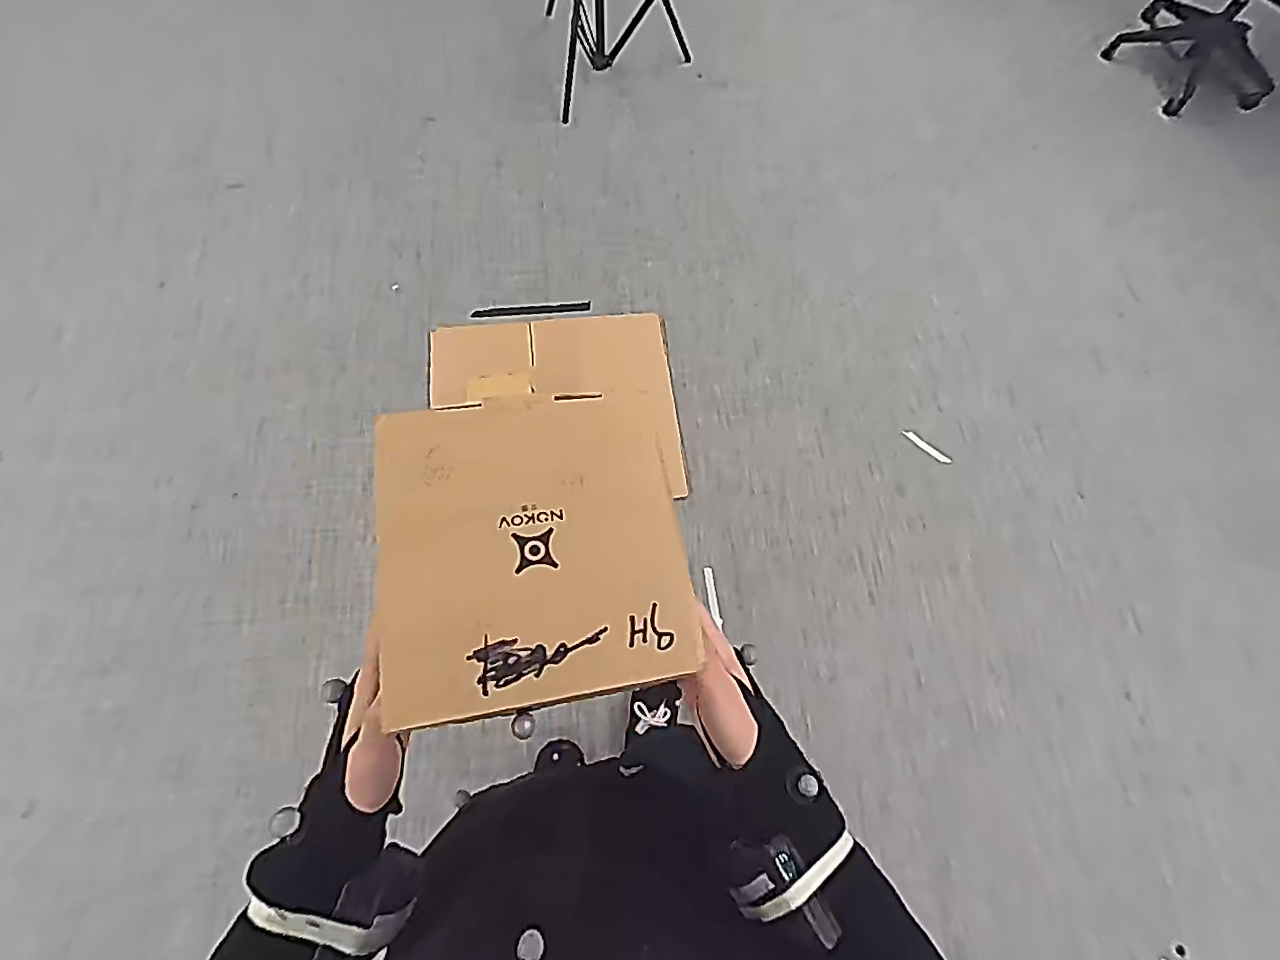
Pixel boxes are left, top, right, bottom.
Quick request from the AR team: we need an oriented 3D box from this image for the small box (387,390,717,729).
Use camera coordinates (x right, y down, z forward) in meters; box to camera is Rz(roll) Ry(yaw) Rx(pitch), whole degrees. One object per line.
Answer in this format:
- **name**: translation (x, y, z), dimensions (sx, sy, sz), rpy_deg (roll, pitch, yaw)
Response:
- **small box**: translation (-0.063, 0.062, 0.372), dimensions (0.168, 0.176, 0.179), rpy_deg (-8, 69, -10)

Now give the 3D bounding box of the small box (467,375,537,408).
- **small box**: translation (-0.356, -0.157, 1.447), dimensions (0.168, 0.176, 0.179), rpy_deg (-8, 71, -6)
